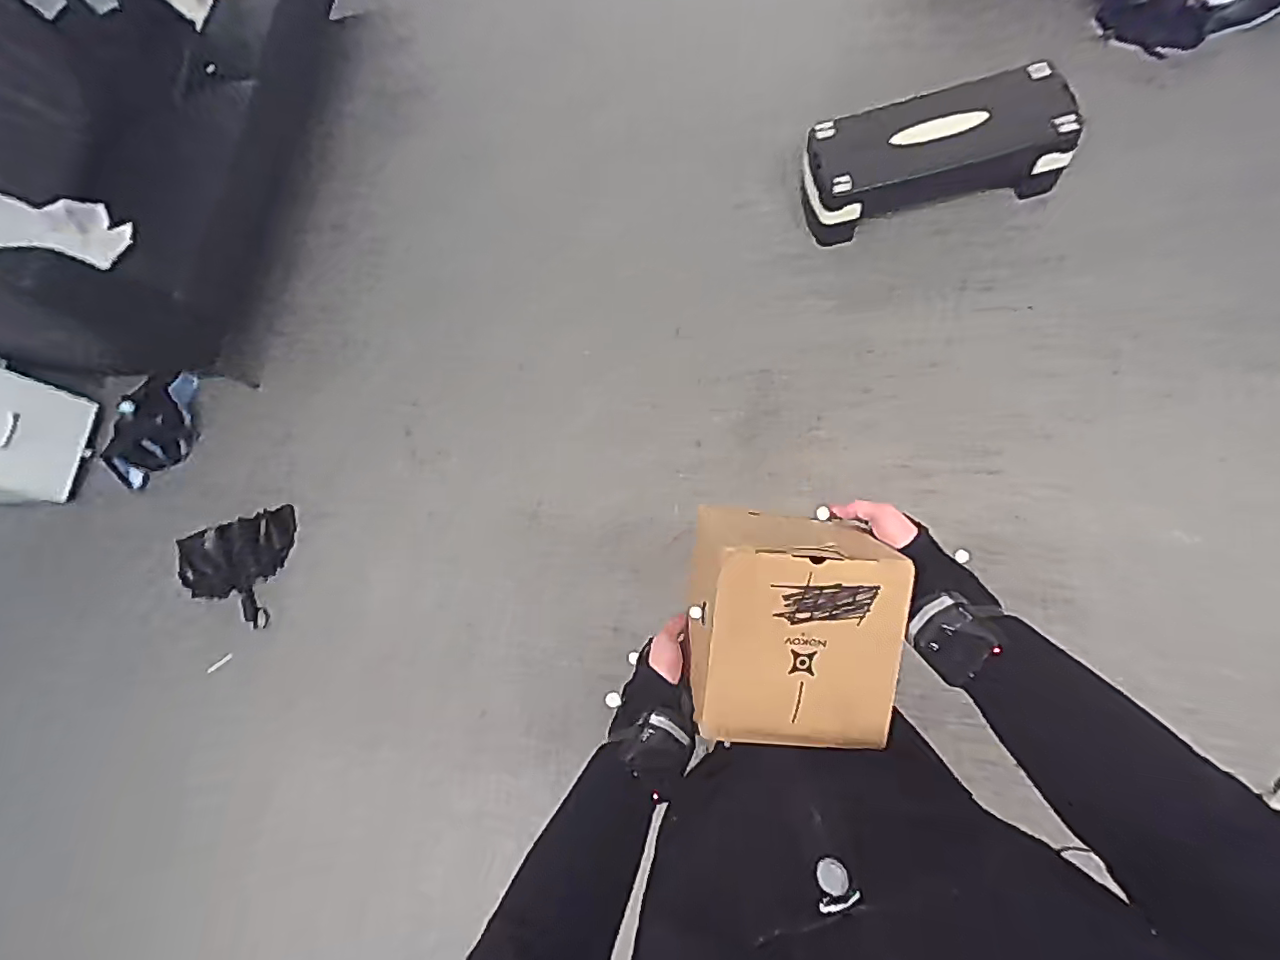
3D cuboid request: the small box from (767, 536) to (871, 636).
[{"bbox_3d":[0.432,0.266,1.327,0.179,0.176,0.168,-42,70,-2],"label":"small box"}]
